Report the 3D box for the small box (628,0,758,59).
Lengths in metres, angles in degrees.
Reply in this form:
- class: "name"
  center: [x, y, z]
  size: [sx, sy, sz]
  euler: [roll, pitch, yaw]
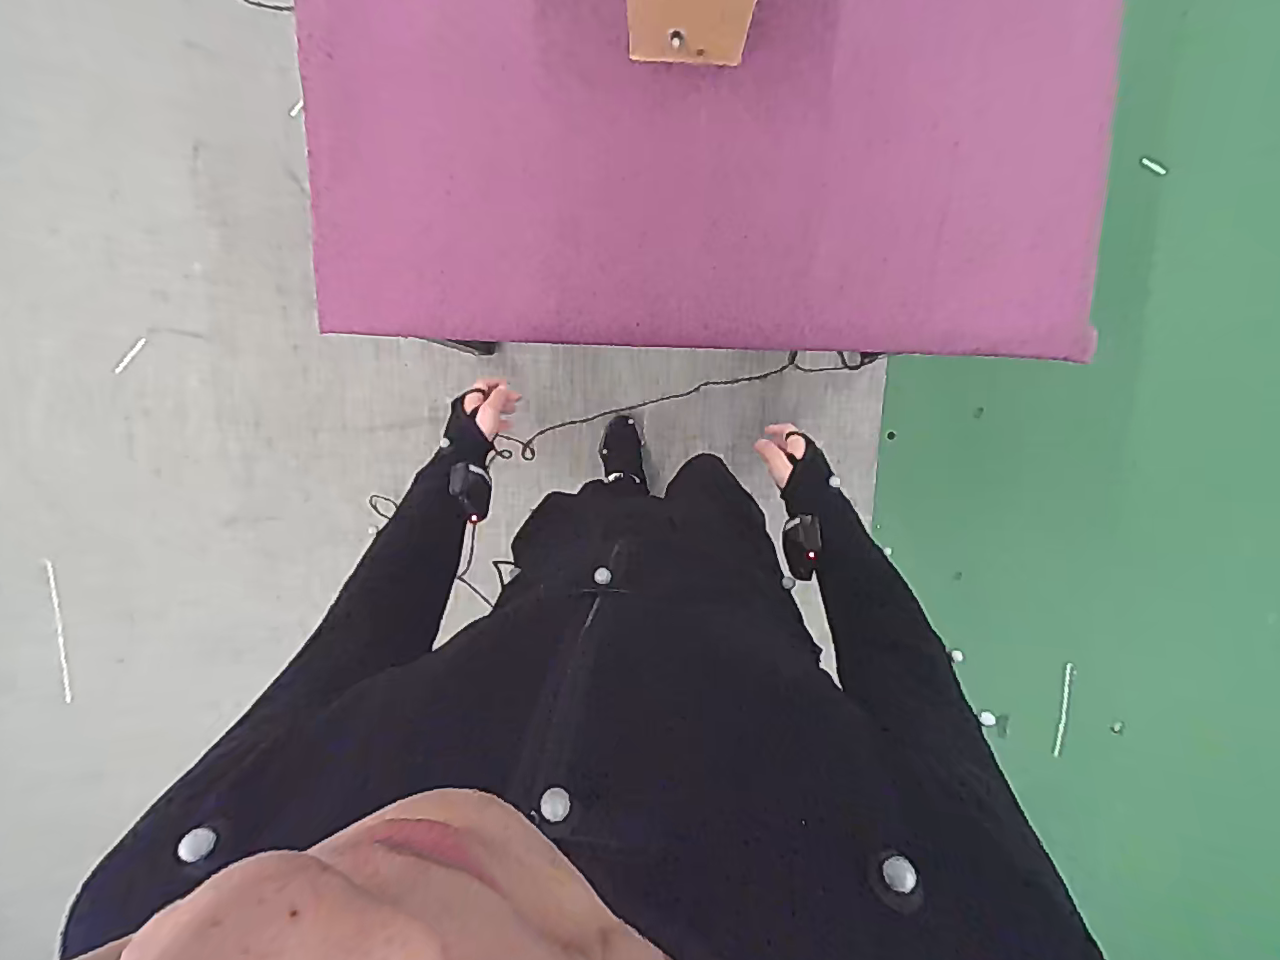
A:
- class: "small box"
  center: [0.071, -0.695, 0.697]
  size: [0.168, 0.176, 0.179]
  euler: [3, 100, -1]
